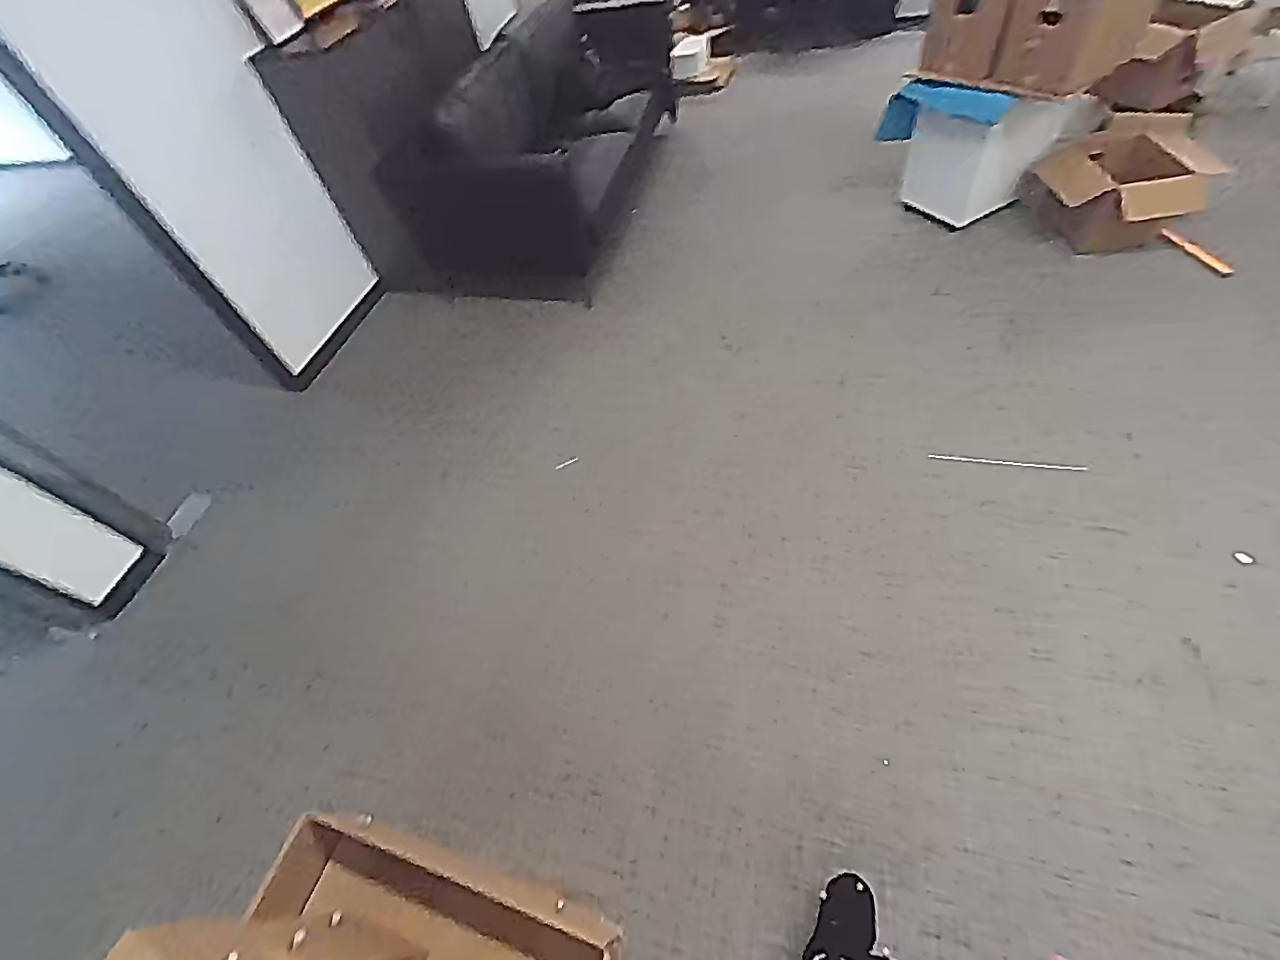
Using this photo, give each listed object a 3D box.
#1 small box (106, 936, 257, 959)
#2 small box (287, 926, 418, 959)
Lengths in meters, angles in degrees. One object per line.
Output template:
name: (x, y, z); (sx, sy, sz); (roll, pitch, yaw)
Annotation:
small box: (-0.532, 0.649, 0.600); (0.179, 0.176, 0.168); (18, 57, 19)
small box: (-0.492, 0.842, 0.861); (0.179, 0.176, 0.168); (10, 56, 15)
